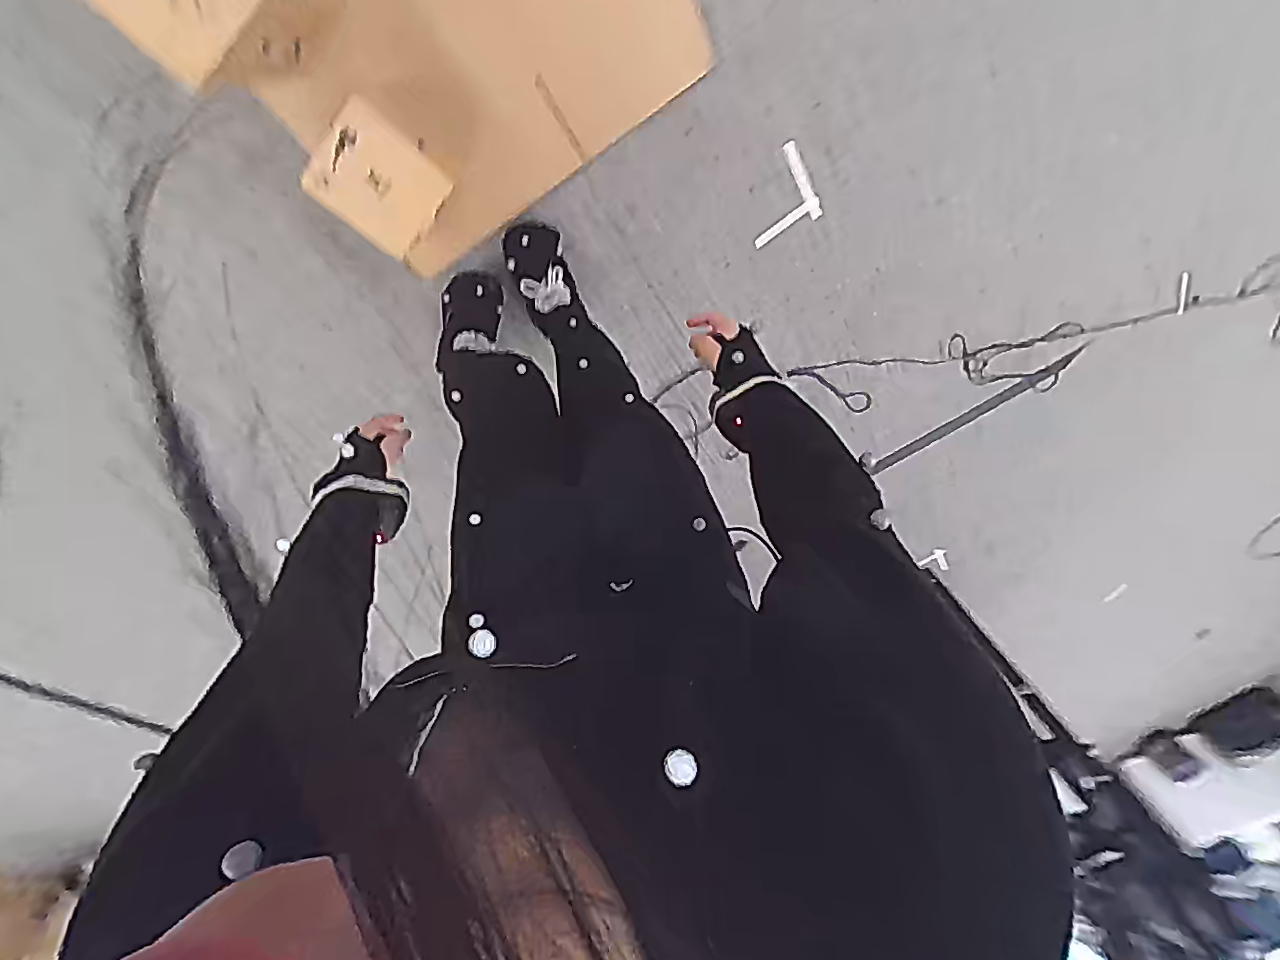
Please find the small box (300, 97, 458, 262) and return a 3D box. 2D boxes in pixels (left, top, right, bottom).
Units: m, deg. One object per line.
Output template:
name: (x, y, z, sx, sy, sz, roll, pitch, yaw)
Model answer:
small box: (-0.428, -0.513, 0.918, 0.168, 0.176, 0.179, -43, 126, 18)
